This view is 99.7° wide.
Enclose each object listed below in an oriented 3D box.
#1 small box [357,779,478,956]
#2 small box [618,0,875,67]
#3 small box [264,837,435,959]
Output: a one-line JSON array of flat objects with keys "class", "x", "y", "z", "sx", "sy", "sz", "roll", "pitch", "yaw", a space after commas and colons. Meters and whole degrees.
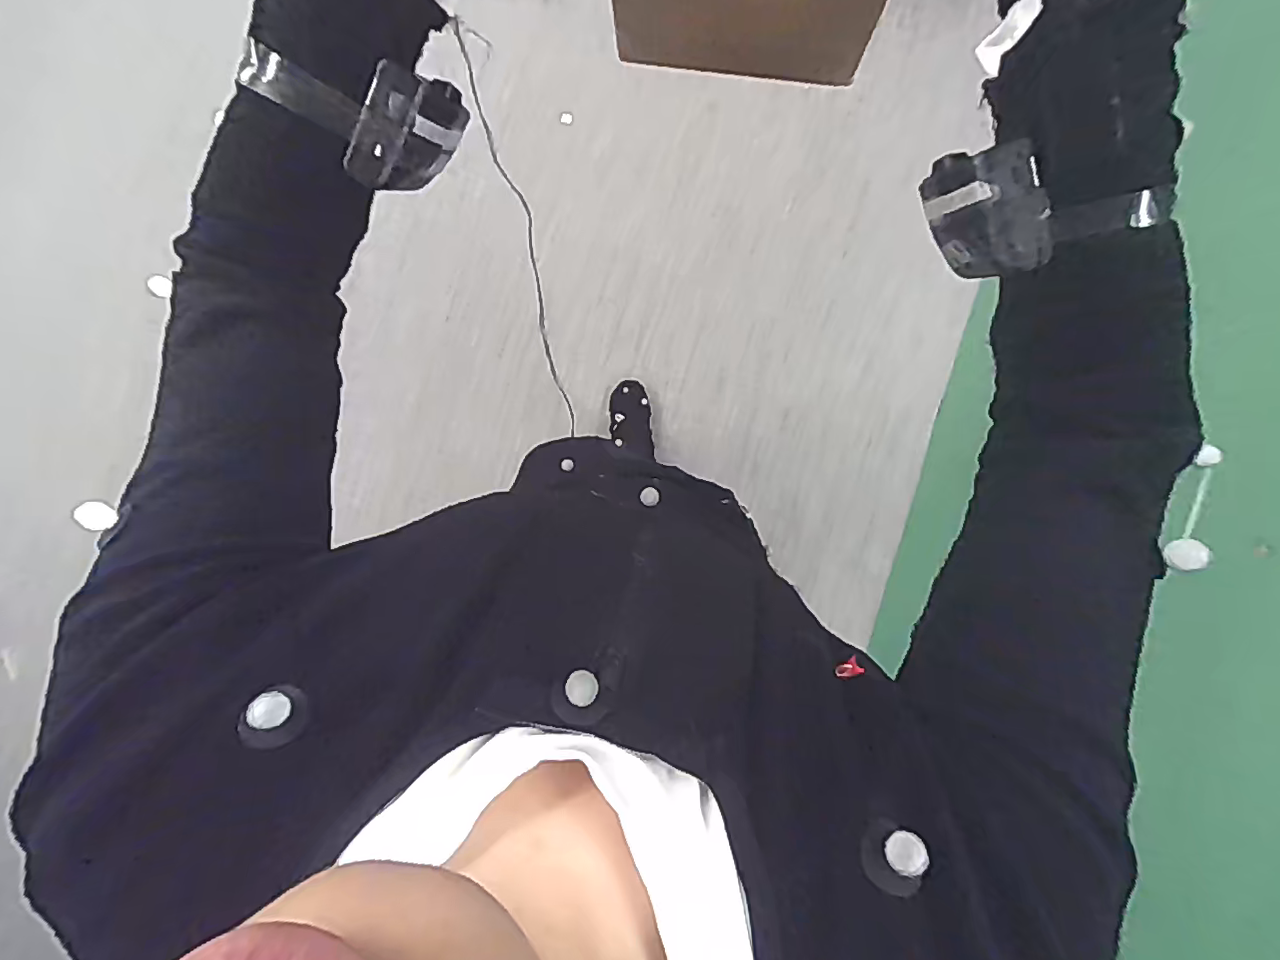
[{"class": "small box", "x": -0.419, "y": 0.694, "z": 0.992, "sx": 0.168, "sy": 0.176, "sz": 0.179, "roll": 20, "pitch": 93, "yaw": 7}, {"class": "small box", "x": 0.078, "y": -0.390, "z": 0.319, "sx": 0.179, "sy": 0.176, "sz": 0.168, "roll": 9, "pitch": 89, "yaw": 3}, {"class": "small box", "x": -0.442, "y": 0.699, "z": 0.830, "sx": 0.168, "sy": 0.176, "sz": 0.179, "roll": 18, "pitch": 91, "yaw": 7}]
